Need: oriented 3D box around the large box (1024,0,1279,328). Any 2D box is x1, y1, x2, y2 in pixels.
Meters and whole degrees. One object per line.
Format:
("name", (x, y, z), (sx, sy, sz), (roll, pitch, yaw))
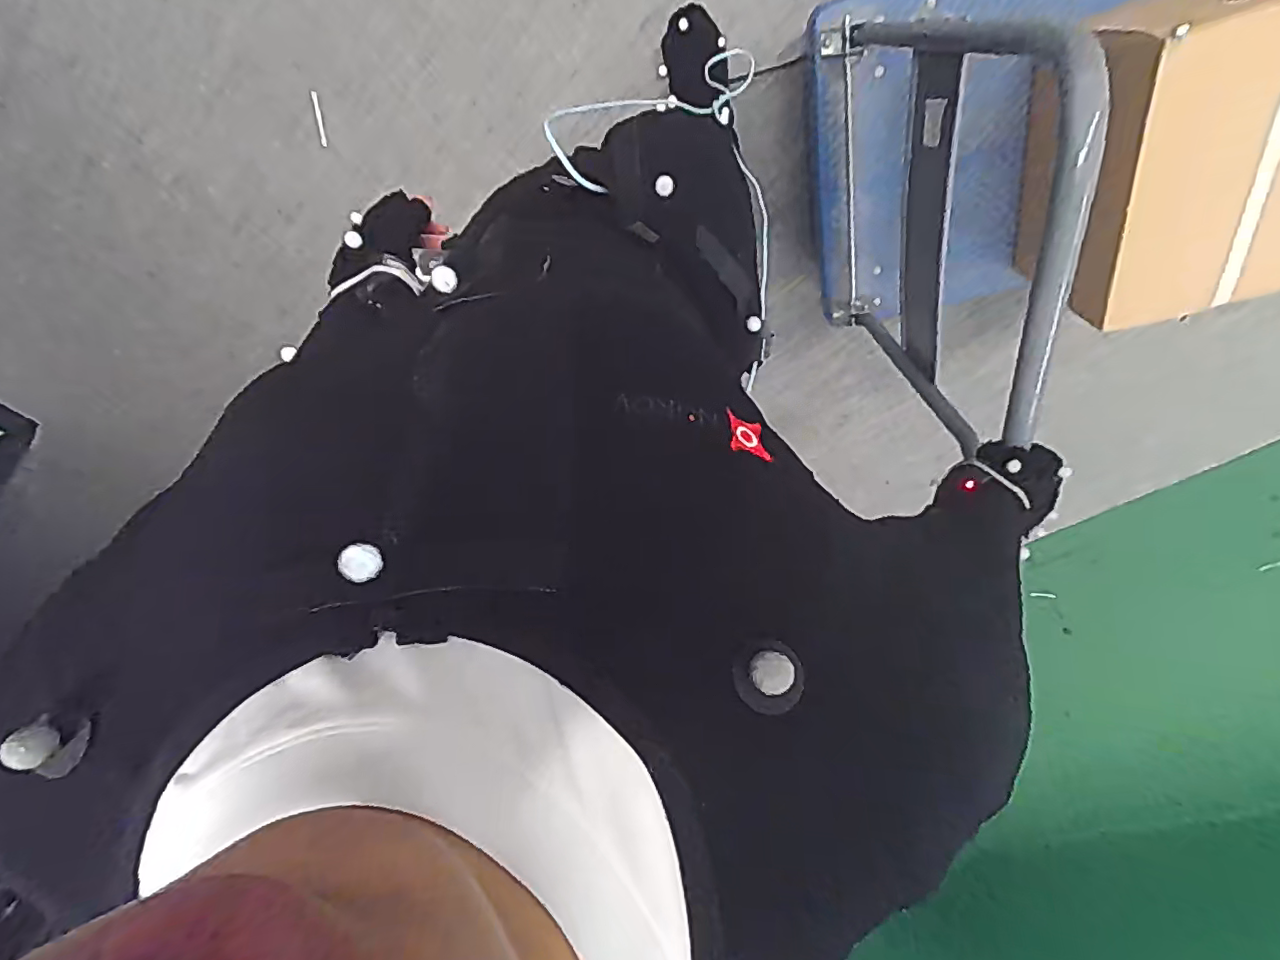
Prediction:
("large box", (0.855, -0.521, 0.849), (0.320, 0.320, 0.408), (-13, 128, 14))
